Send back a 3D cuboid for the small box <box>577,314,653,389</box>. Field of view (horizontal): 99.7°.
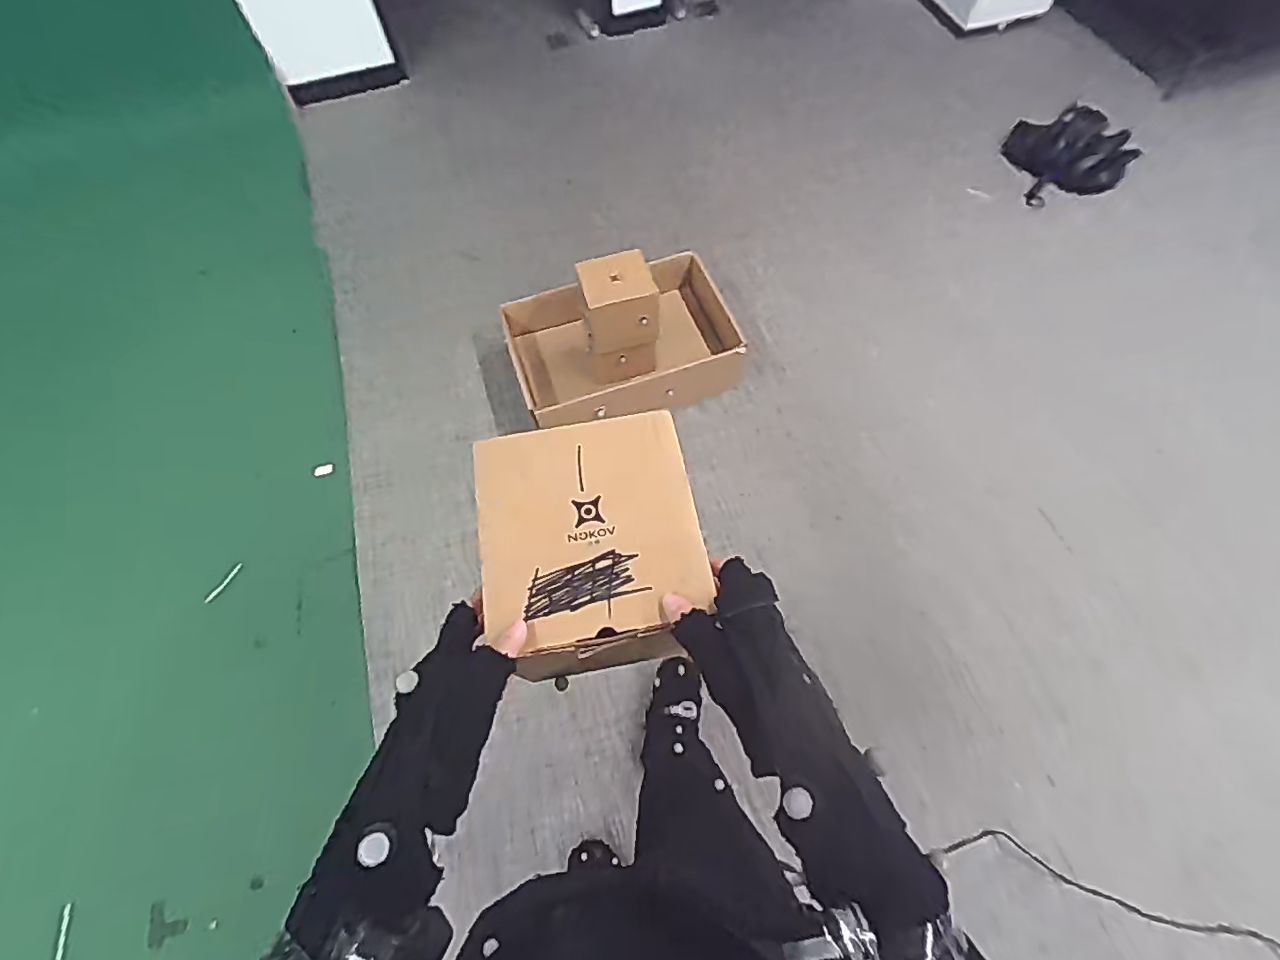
[{"bbox_3d":[-0.067,-0.392,1.575,0.179,0.176,0.168,-20,64,-8],"label":"small box"}]

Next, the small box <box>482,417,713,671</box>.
[{"bbox_3d":[-0.038,0.069,0.492,0.168,0.176,0.179,-9,64,-5],"label":"small box"}]

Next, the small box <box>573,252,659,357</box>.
[{"bbox_3d":[-0.061,-0.450,1.401,0.179,0.176,0.168,-19,64,-8],"label":"small box"}]
